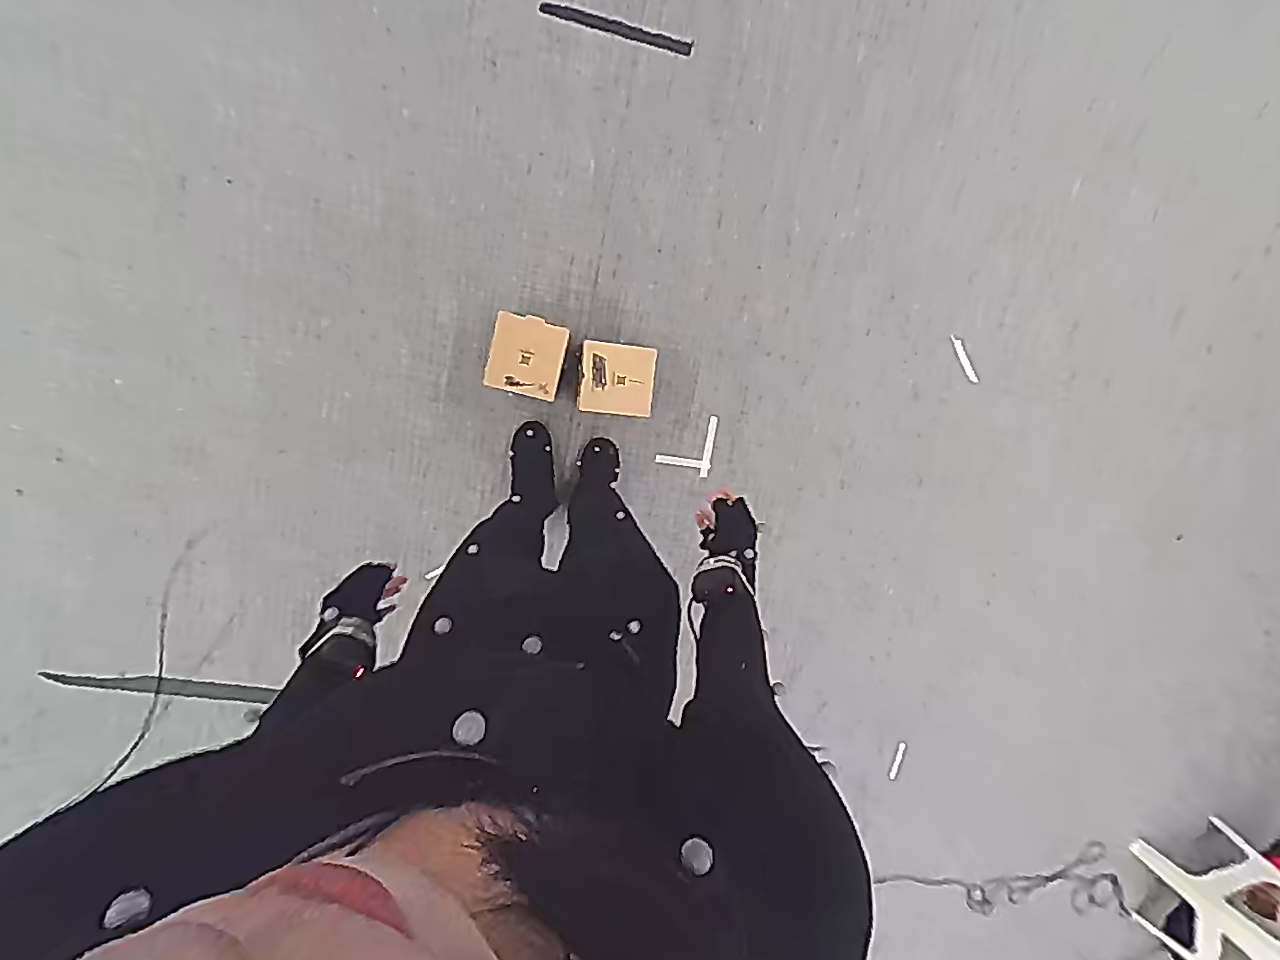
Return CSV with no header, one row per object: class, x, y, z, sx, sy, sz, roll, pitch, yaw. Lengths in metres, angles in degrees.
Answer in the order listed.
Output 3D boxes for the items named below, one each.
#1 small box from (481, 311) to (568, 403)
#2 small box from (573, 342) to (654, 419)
small box,-0.279,-0.296,1.323,0.168,0.176,0.179,14,99,-10
small box,-0.073,-0.250,1.363,0.179,0.176,0.168,5,101,-10
